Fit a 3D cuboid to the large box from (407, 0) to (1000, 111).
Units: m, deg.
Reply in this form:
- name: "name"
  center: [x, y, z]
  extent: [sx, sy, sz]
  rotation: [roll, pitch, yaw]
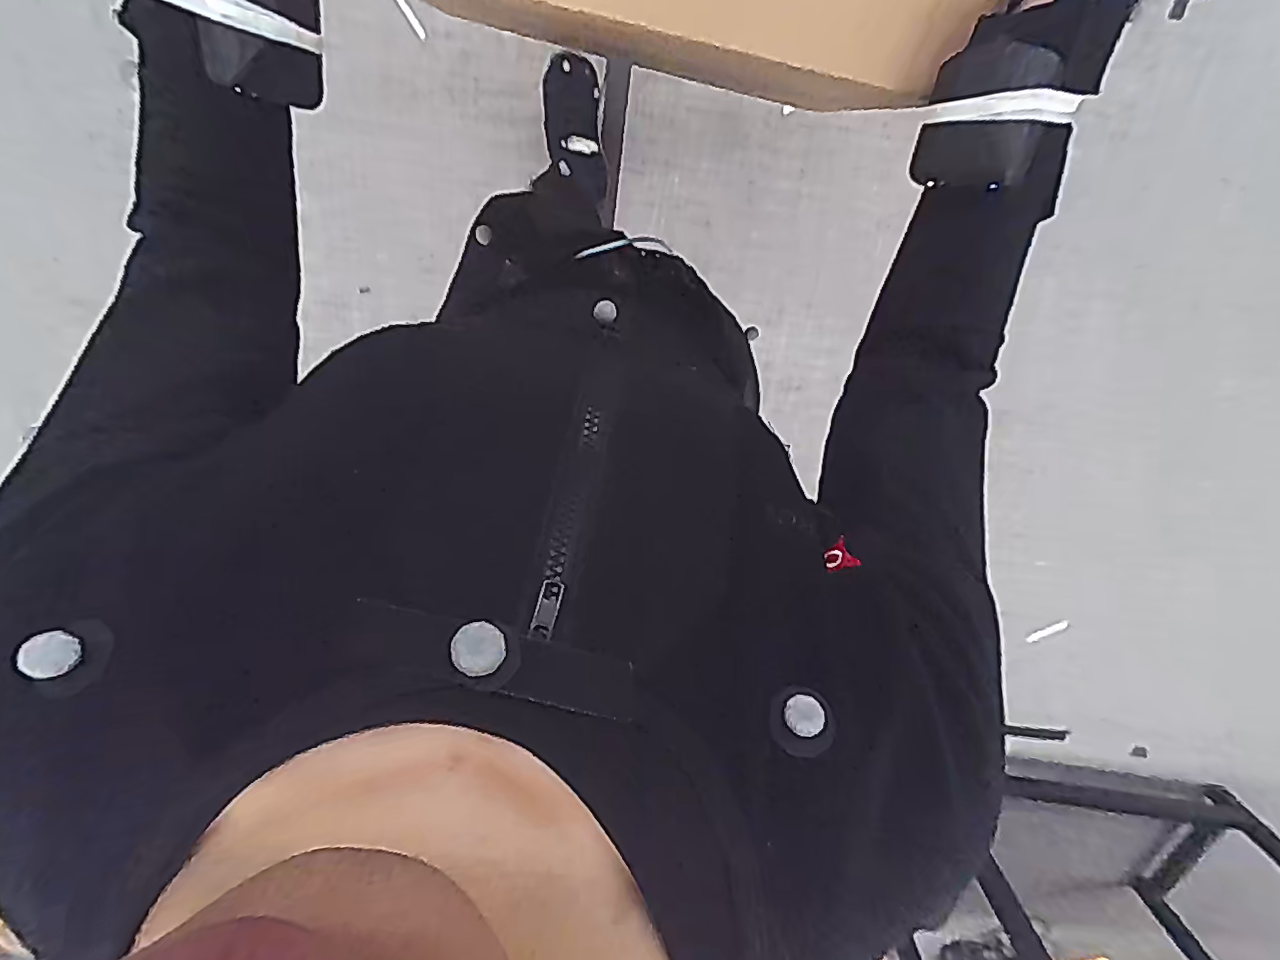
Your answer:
- name: "large box"
  center: [0.031, -0.472, 0.360]
  extent: [0.408, 0.320, 0.320]
  rotation: [9, 124, -6]
